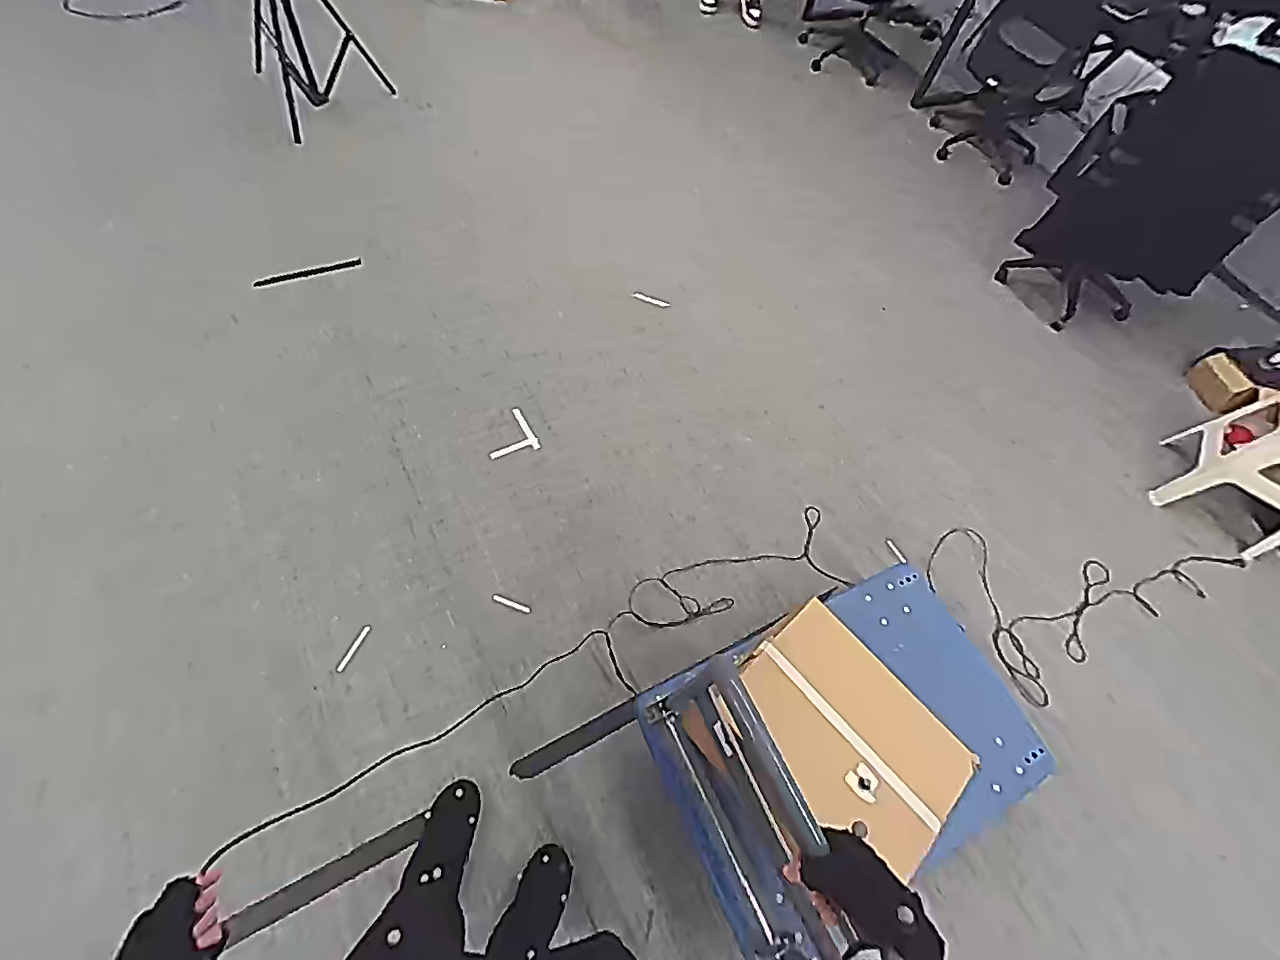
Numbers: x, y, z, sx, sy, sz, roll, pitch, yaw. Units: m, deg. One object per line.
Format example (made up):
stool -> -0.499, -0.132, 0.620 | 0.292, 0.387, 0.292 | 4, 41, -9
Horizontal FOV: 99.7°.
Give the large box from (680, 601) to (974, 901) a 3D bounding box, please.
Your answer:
large box -> 0.349, 0.530, 1.105 | 0.320, 0.320, 0.408 | -36, 72, -25
